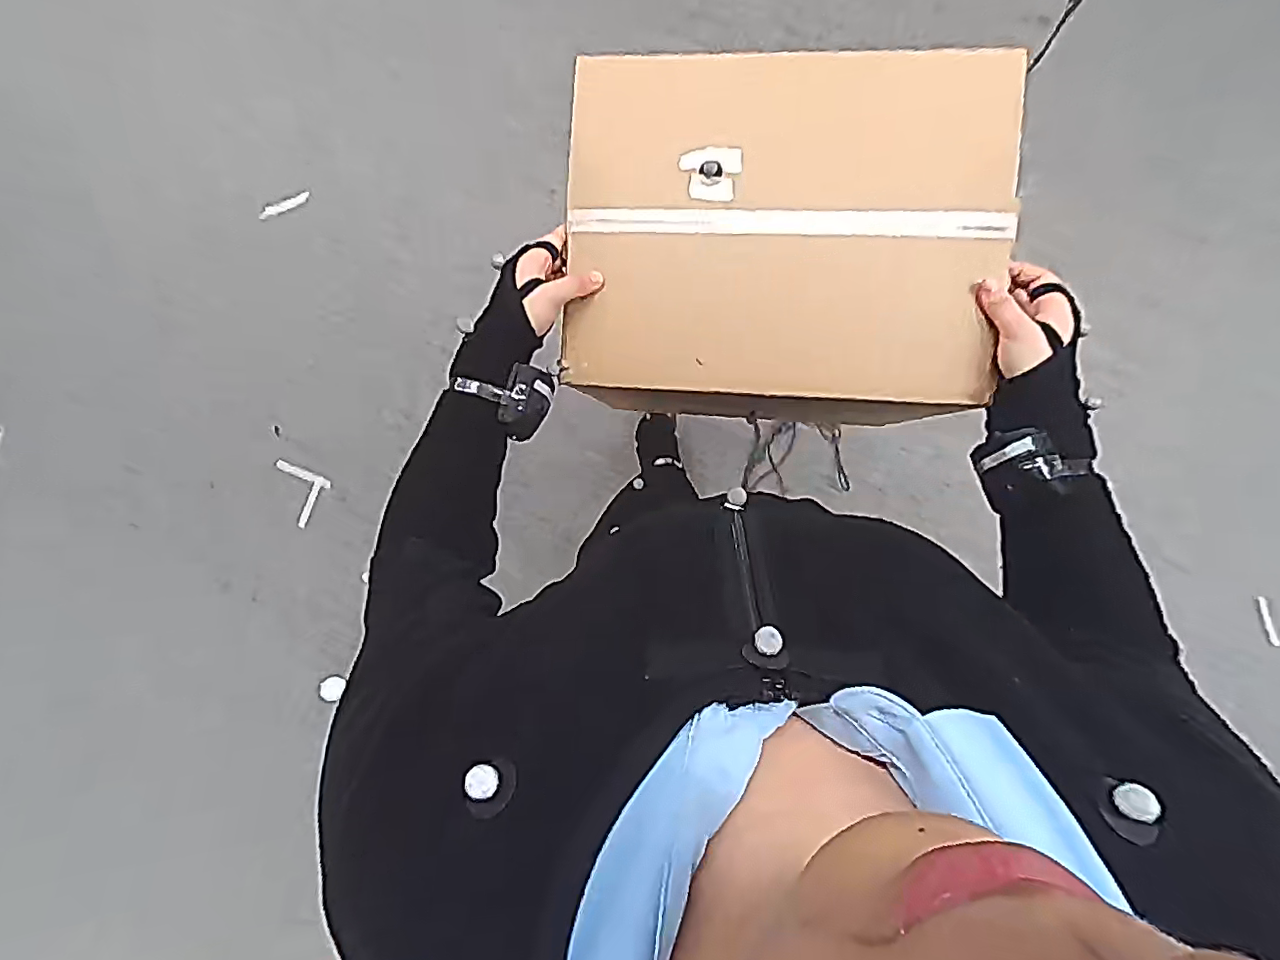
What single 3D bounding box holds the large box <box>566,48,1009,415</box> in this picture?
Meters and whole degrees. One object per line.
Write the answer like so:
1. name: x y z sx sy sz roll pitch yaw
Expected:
1. large box: 0.150 -0.249 0.662 0.408 0.320 0.320 4 91 8
